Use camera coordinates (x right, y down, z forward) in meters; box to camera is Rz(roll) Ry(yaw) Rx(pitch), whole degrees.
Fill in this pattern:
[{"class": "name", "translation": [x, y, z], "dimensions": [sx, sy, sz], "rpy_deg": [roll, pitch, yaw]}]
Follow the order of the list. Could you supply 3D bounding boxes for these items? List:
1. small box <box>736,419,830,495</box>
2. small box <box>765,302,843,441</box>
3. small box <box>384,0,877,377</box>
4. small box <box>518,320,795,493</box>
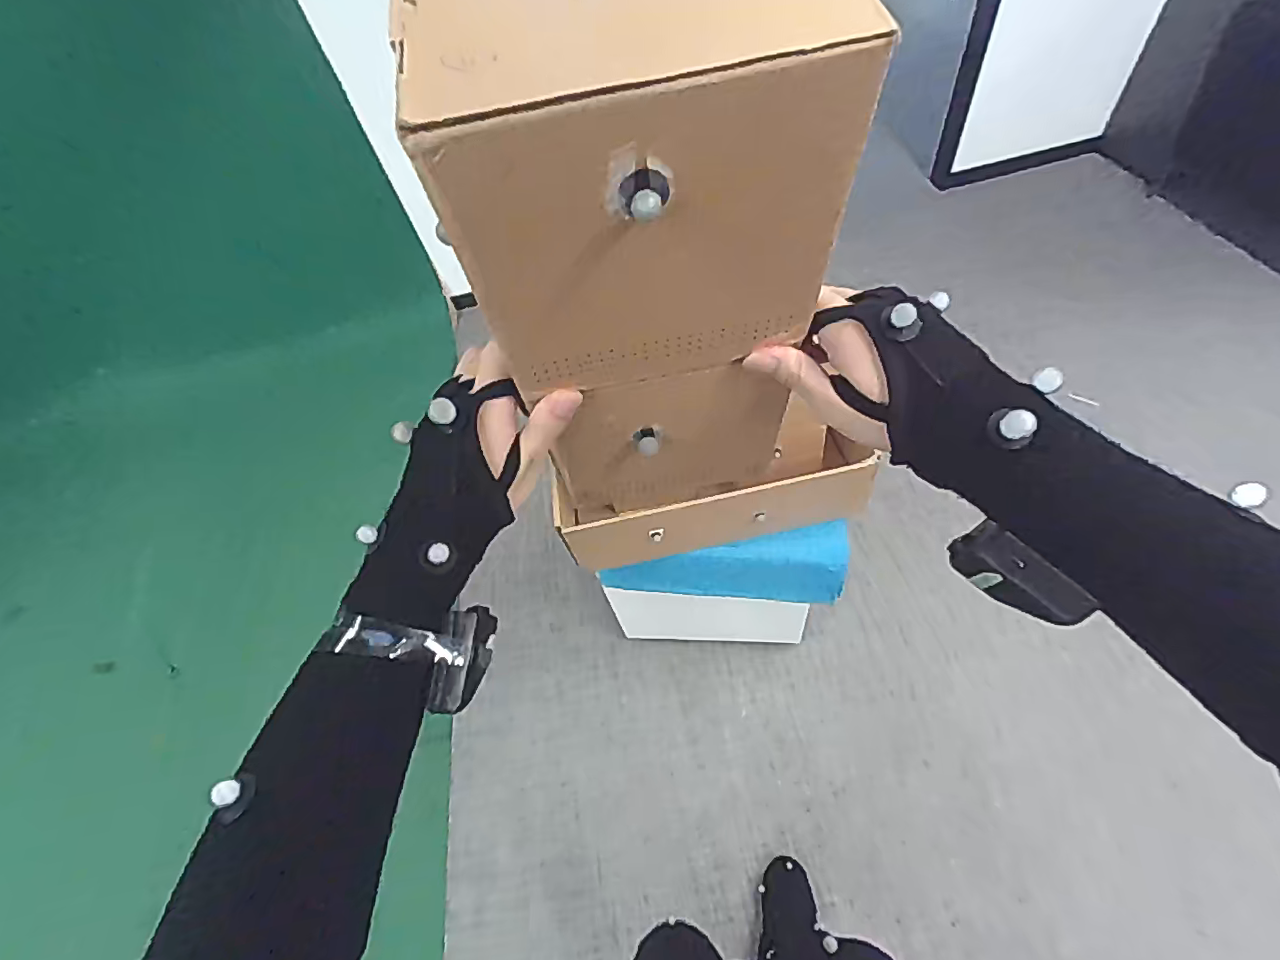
[{"class": "small box", "translation": [0.274, -0.088, 1.109], "dimensions": [0.179, 0.176, 0.168], "rpy_deg": [-12, 51, 4]}, {"class": "small box", "translation": [0.246, -0.190, 0.984], "dimensions": [0.179, 0.176, 0.168], "rpy_deg": [-14, 50, 3]}, {"class": "small box", "translation": [-0.007, -0.176, 0.290], "dimensions": [0.179, 0.176, 0.168], "rpy_deg": [-10, 63, 0]}, {"class": "small box", "translation": [0.008, -0.104, 0.437], "dimensions": [0.179, 0.176, 0.168], "rpy_deg": [-10, 63, 1]}]
